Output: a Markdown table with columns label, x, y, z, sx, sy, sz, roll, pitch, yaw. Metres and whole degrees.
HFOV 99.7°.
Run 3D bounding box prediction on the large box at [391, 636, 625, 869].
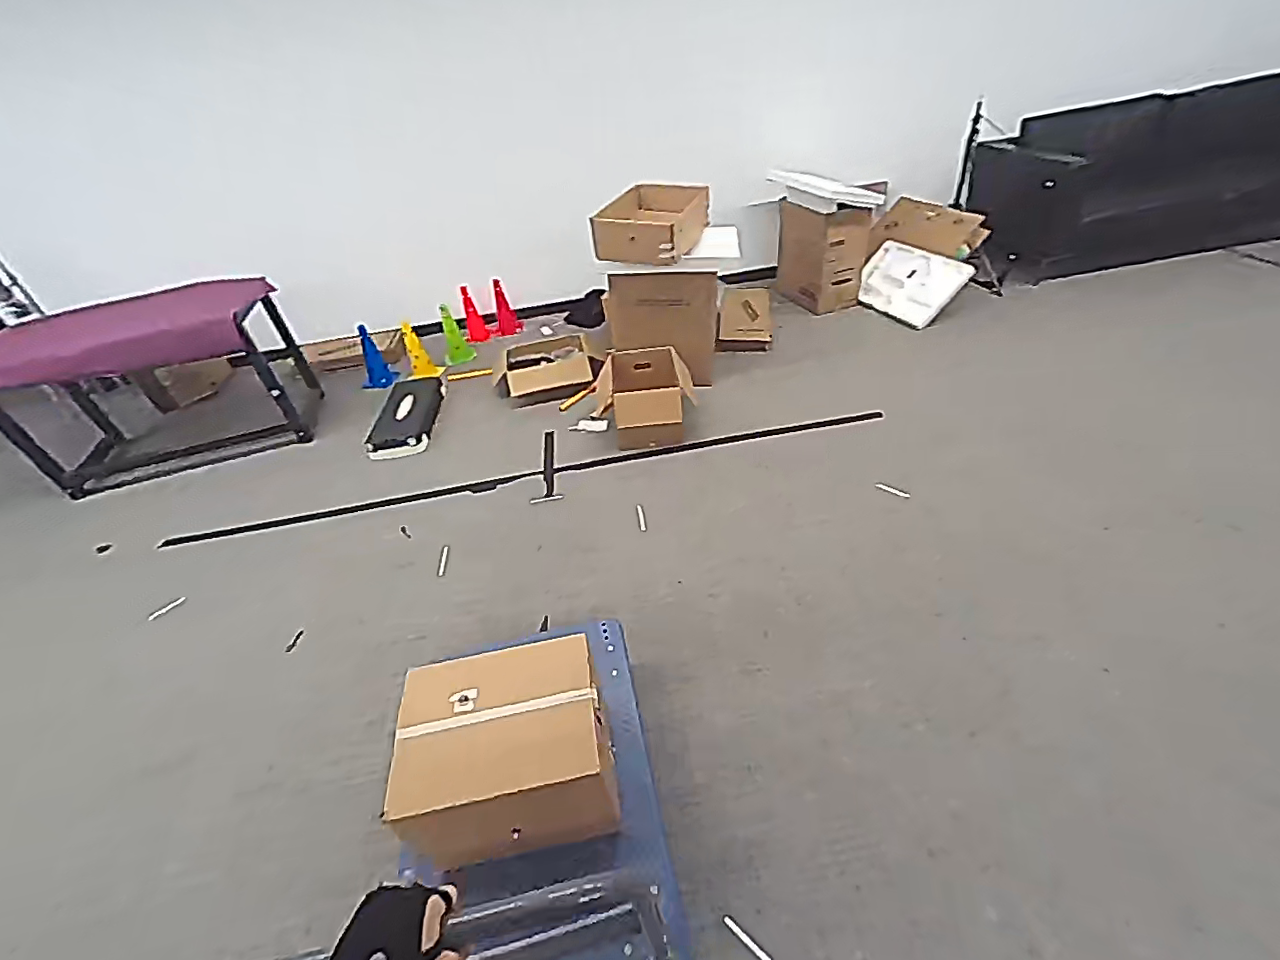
| label | x | y | z | sx | sy | sz | roll | pitch | yaw |
| --- | --- | --- | --- | --- | --- | --- | --- | --- | --- |
| large box | -0.270 | 0.605 | 1.208 | 0.408 | 0.320 | 0.320 | -12 | 38 | -3 |
